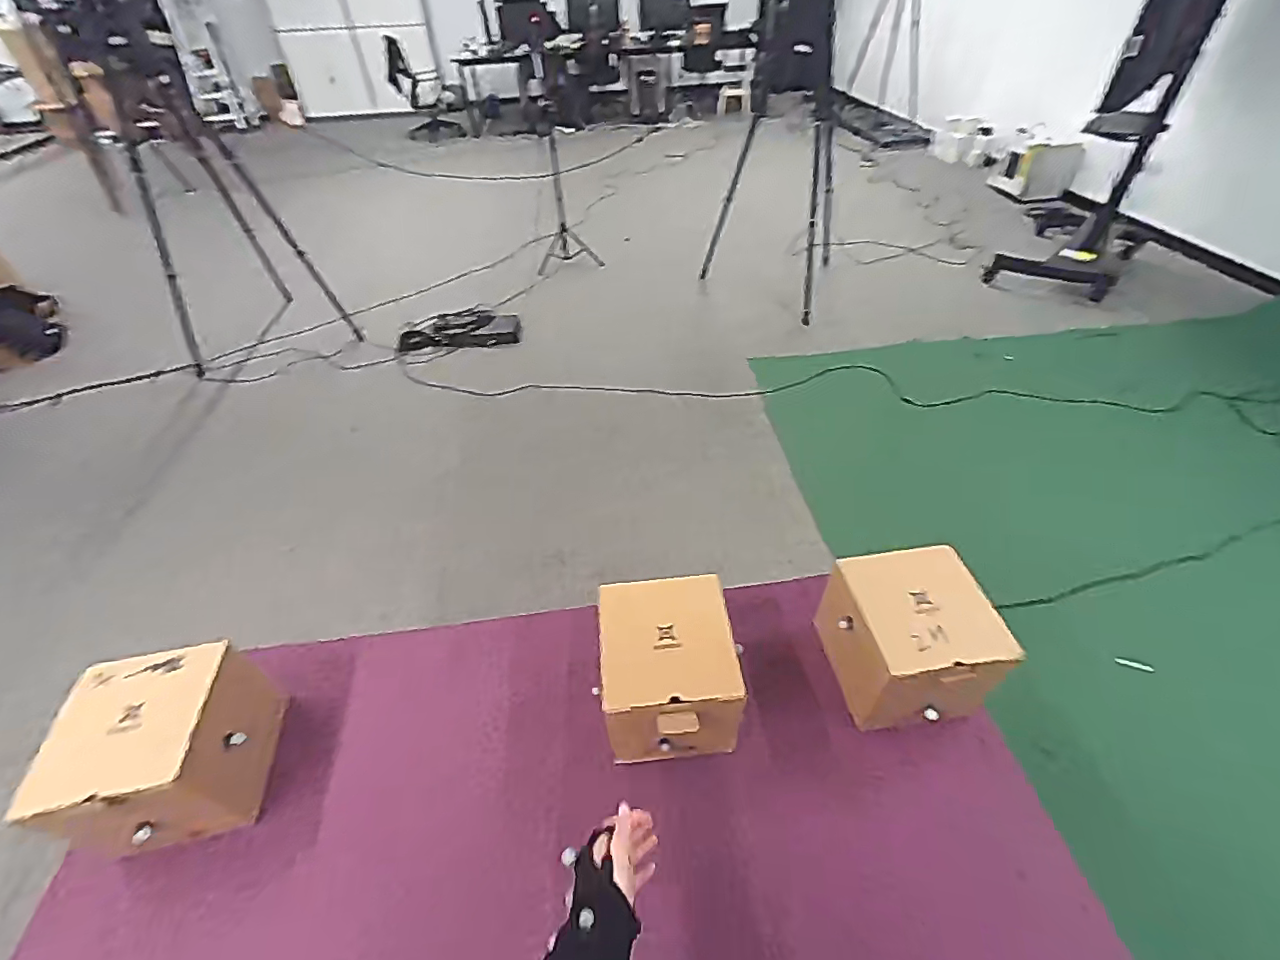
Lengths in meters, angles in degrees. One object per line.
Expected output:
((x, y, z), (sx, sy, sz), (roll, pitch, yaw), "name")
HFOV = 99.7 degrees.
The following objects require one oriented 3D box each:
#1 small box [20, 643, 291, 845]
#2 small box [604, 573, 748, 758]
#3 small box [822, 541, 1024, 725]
((-0.581, 0.339, 0.686), (0.168, 0.176, 0.179), (-9, 46, -7), "small box")
((0.040, 0.252, 0.736), (0.168, 0.176, 0.179), (-6, 45, -2), "small box")
((0.369, 0.212, 0.749), (0.168, 0.176, 0.179), (-8, 45, -2), "small box")
